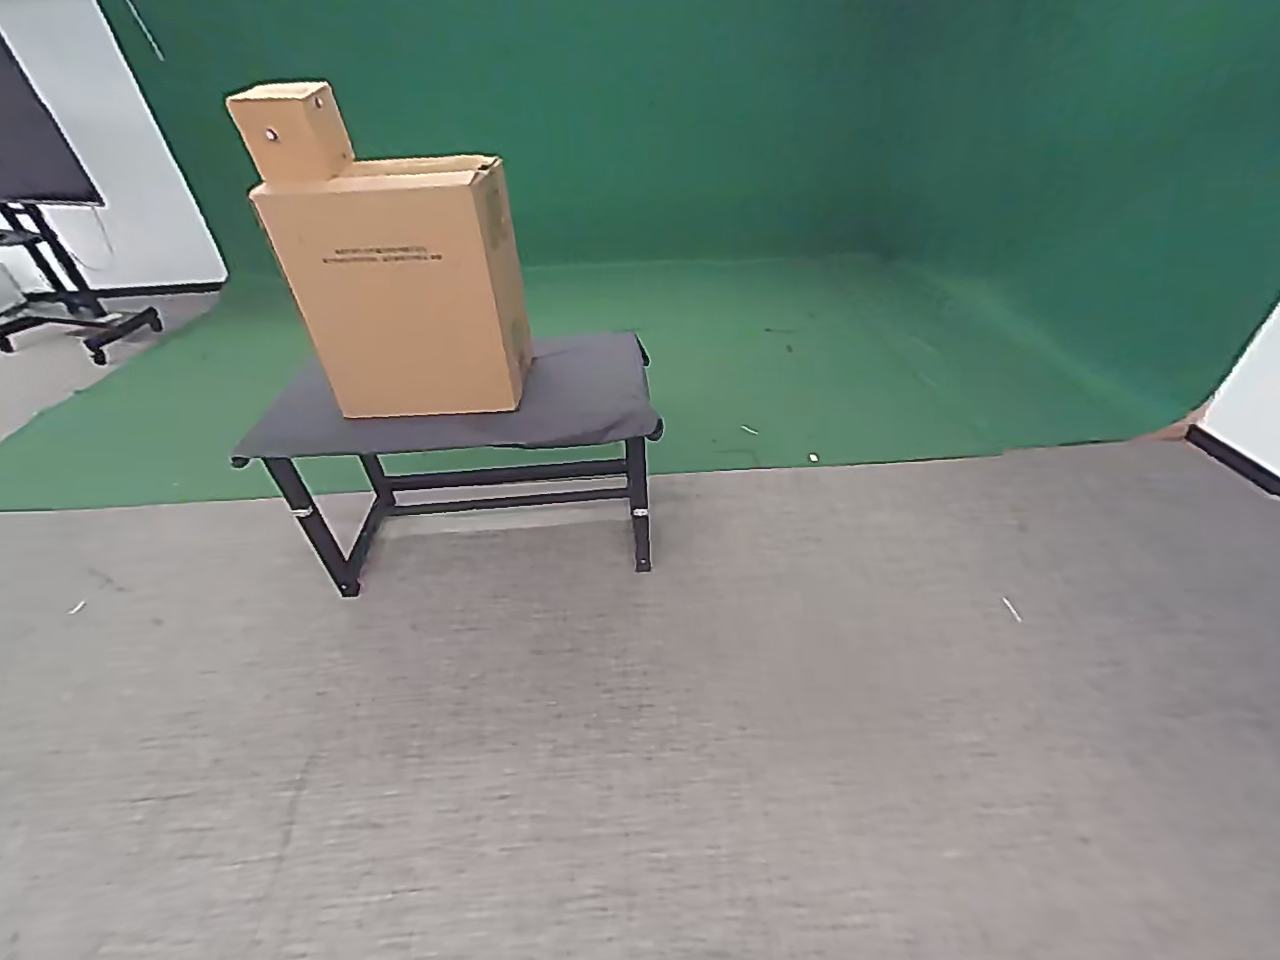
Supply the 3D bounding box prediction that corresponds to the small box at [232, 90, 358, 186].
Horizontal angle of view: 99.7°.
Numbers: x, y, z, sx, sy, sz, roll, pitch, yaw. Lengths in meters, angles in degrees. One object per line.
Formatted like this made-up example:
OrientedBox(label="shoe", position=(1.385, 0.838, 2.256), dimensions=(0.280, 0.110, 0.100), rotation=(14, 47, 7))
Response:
OrientedBox(label="small box", position=(-0.836, -0.839, 1.331), dimensions=(0.179, 0.176, 0.168), rotation=(-3, 46, 1))
